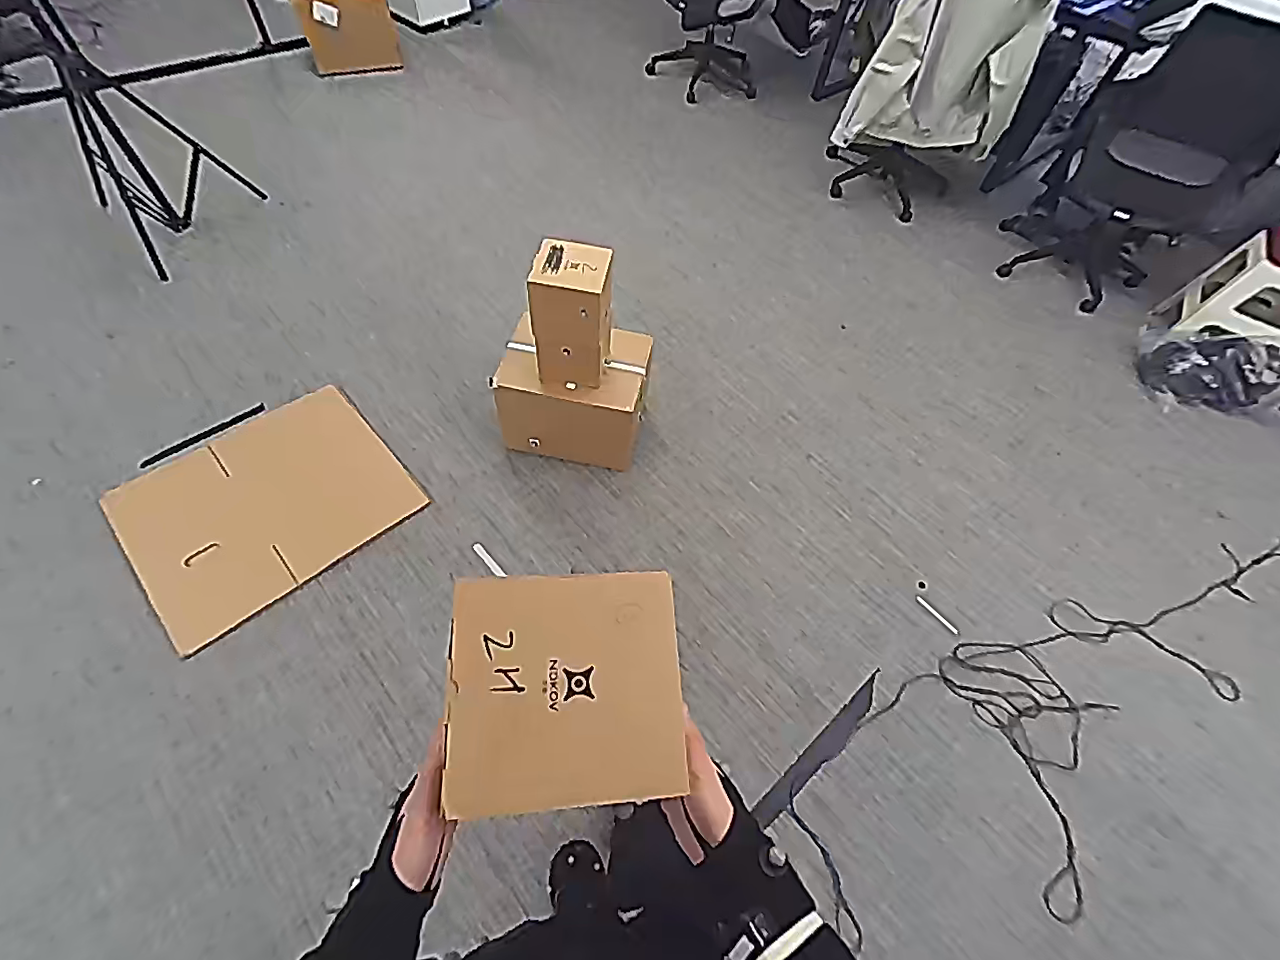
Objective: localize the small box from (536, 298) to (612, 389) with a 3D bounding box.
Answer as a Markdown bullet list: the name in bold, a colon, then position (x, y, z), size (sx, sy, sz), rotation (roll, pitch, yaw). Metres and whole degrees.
- **small box**: position (-0.178, -0.370, 1.488), size (0.179, 0.176, 0.168), rotation (10, 59, 0)

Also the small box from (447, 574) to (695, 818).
- **small box**: position (-0.061, 0.181, 0.478), size (0.179, 0.176, 0.168), rotation (0, 68, -9)
